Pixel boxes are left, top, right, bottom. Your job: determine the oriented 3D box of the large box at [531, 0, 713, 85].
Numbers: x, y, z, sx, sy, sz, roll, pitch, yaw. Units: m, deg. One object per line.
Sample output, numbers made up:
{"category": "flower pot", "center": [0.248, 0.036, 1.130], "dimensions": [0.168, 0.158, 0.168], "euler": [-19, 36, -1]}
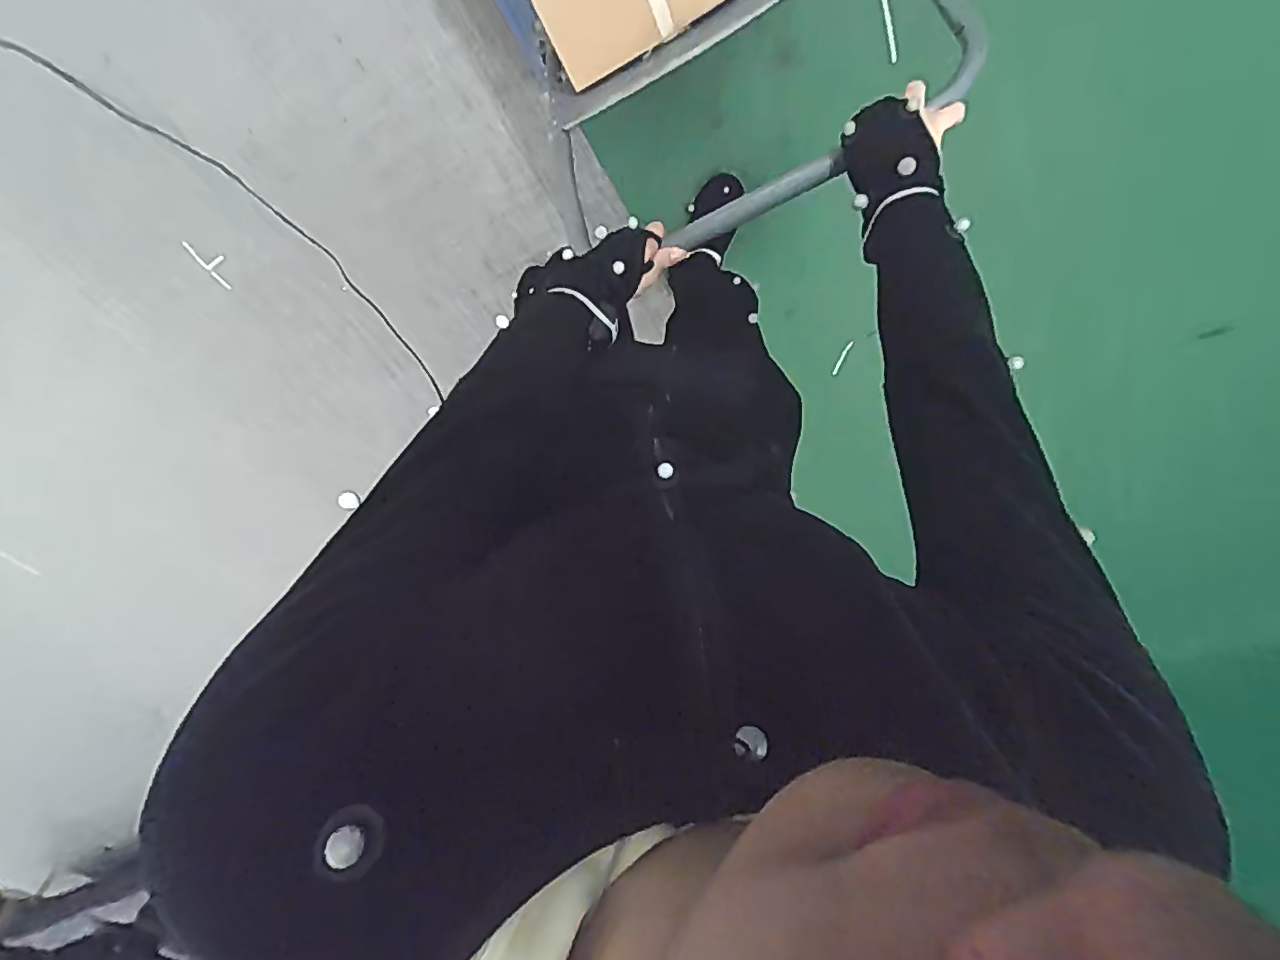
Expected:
{"category": "large box", "center": [-0.060, -0.888, 0.756], "dimensions": [0.320, 0.320, 0.408], "euler": [-21, 139, 17]}
